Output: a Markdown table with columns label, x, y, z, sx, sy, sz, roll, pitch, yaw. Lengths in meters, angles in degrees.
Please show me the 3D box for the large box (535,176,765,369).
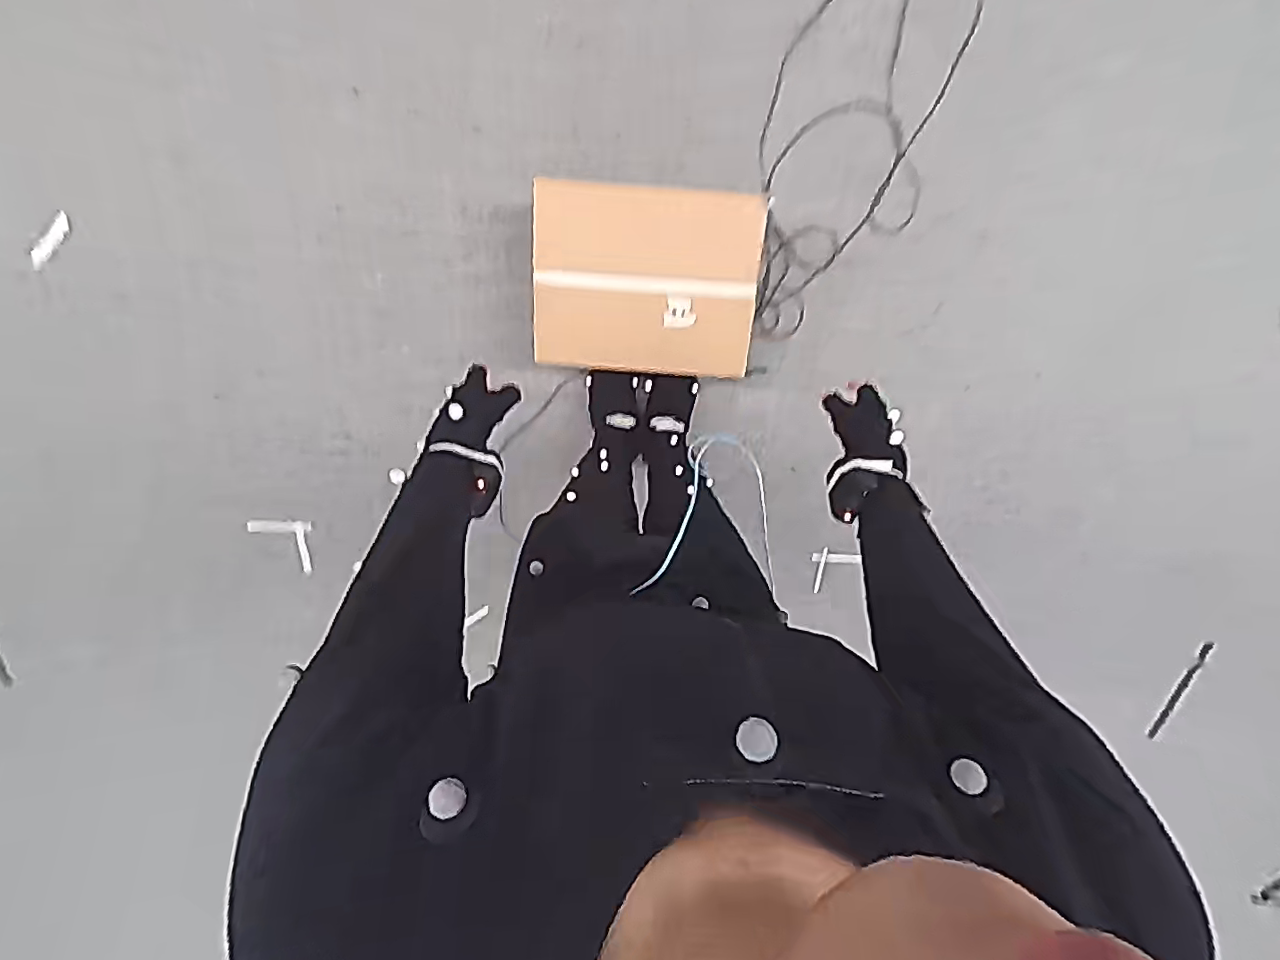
| label | x | y | z | sx | sy | sz | roll | pitch | yaw |
| --- | --- | --- | --- | --- | --- | --- | --- | --- | --- |
| large box | 0.007 | -0.420 | 1.121 | 0.408 | 0.320 | 0.320 | 4 | 112 | -2 |
